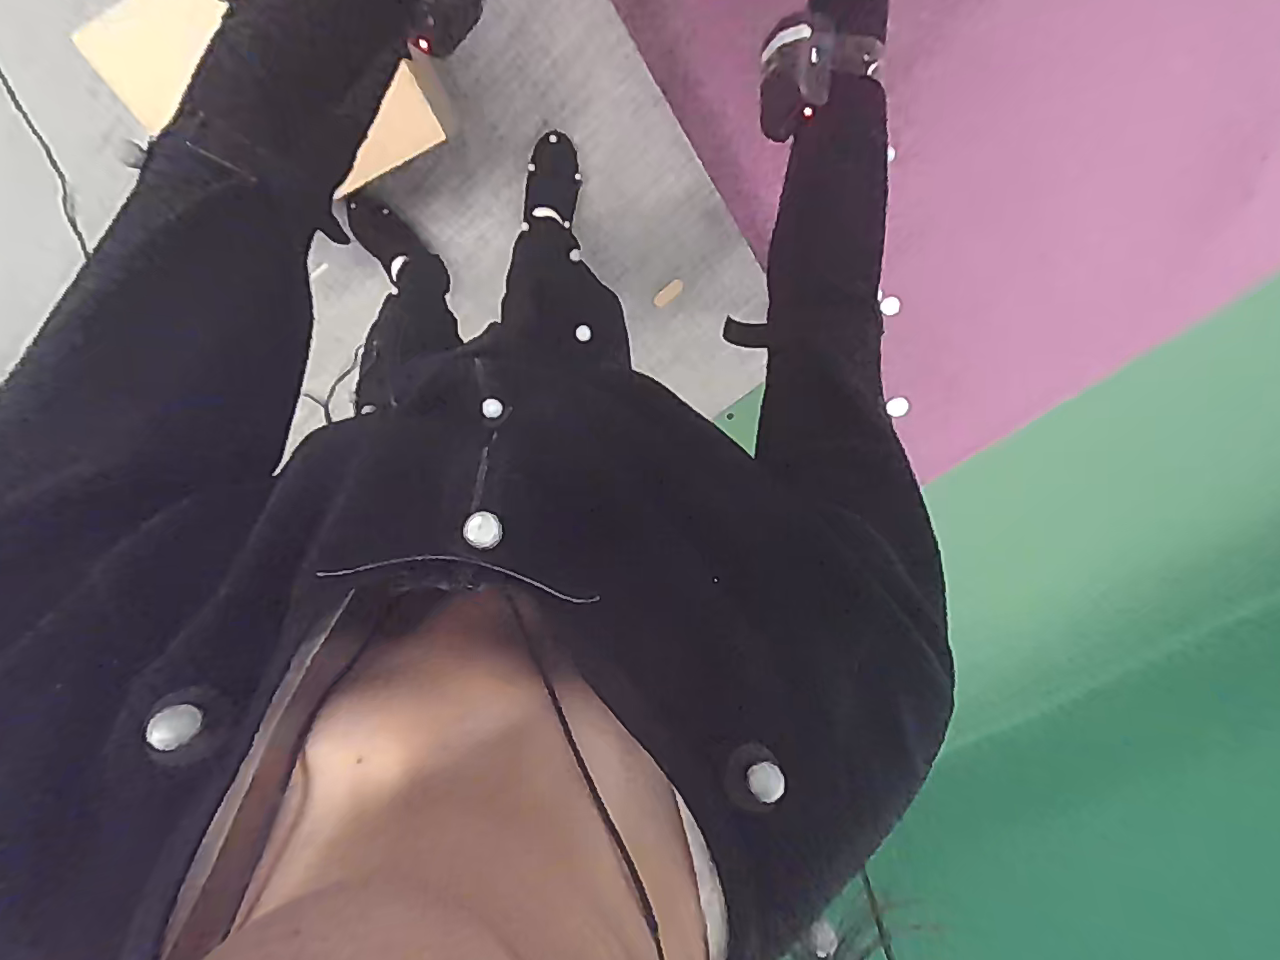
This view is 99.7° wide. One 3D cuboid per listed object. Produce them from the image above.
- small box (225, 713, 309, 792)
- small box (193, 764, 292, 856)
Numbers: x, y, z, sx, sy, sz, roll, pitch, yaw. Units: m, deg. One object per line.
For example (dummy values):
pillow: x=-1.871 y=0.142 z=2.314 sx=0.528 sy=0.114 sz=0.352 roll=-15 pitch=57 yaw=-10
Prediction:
small box: x=-1.145 y=0.846 z=1.676 sx=0.168 sy=0.176 sz=0.179 roll=6 pitch=125 yaw=-16
small box: x=-1.121 y=0.938 z=1.543 sx=0.168 sy=0.176 sz=0.179 roll=3 pitch=126 yaw=-15
